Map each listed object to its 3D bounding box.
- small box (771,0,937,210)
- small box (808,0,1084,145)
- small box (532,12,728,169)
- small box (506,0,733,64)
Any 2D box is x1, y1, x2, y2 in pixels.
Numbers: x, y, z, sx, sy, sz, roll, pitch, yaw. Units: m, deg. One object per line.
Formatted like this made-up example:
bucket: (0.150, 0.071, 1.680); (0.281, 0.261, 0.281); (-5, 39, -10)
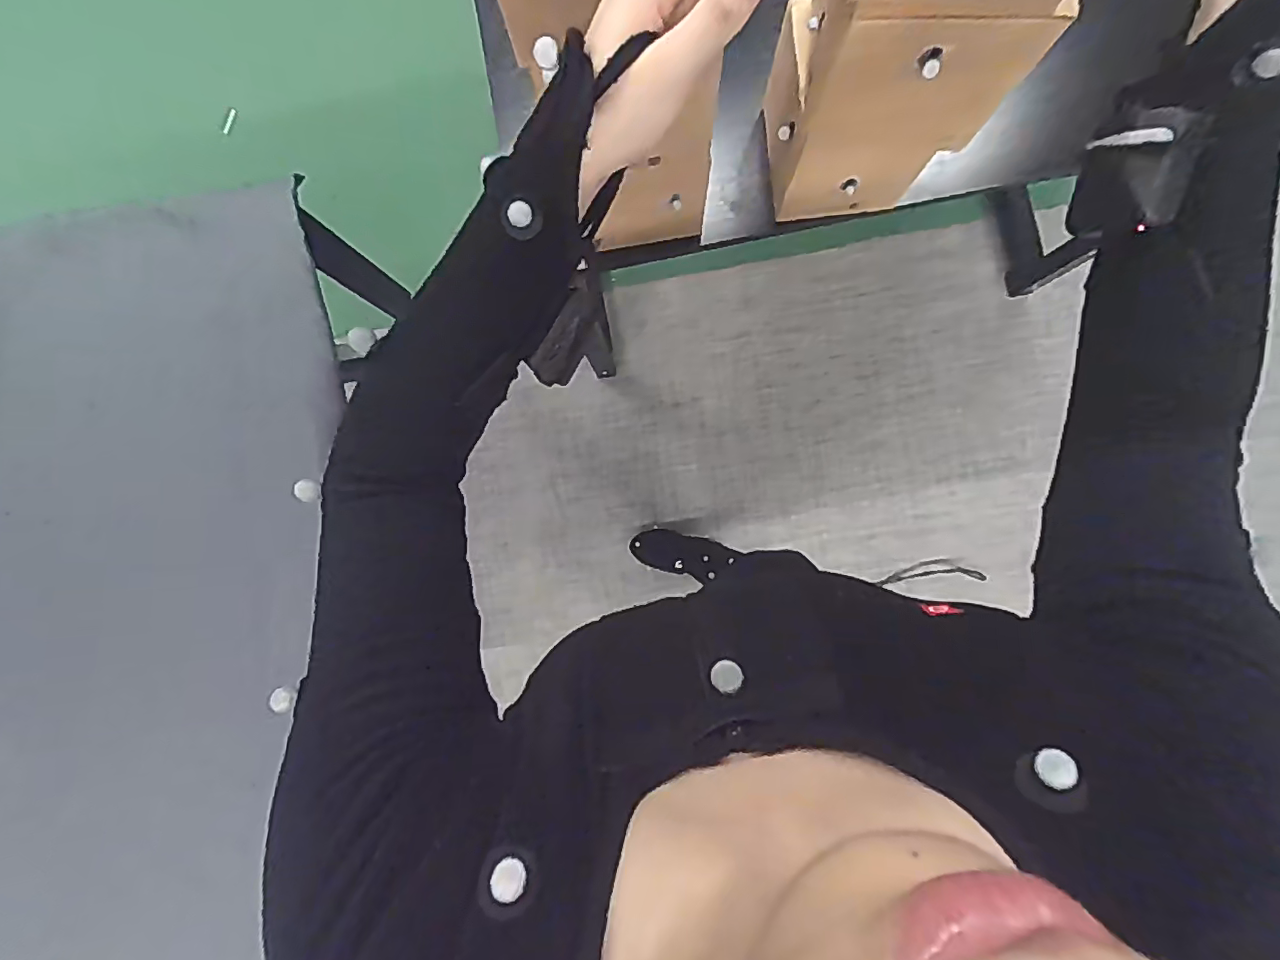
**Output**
small box: (0.266, -0.460, 0.673); (0.168, 0.176, 0.179); (-5, 88, 3)
small box: (0.272, -0.448, 0.510); (0.179, 0.176, 0.168); (3, 89, 3)
small box: (-0.012, -0.431, 0.524); (0.168, 0.176, 0.179); (-6, 87, 2)
small box: (-0.018, -0.428, 0.361); (0.179, 0.176, 0.168); (-6, 86, 3)
